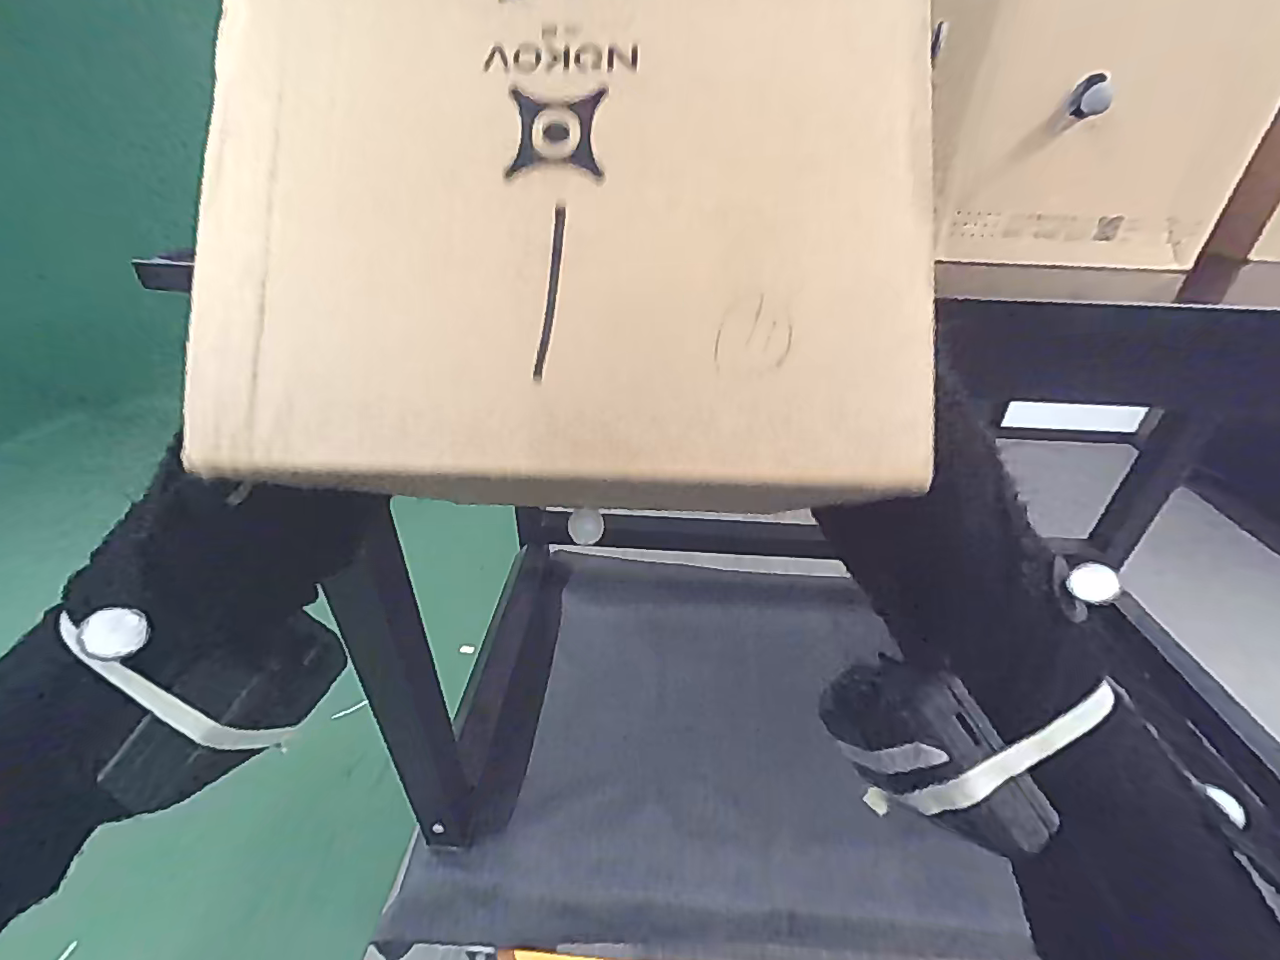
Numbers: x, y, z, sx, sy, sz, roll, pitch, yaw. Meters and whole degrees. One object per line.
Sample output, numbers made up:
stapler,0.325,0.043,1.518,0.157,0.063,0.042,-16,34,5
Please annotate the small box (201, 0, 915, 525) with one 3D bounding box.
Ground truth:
small box,-0.015,-0.074,0.211,0.168,0.179,0.176,2,-4,2
